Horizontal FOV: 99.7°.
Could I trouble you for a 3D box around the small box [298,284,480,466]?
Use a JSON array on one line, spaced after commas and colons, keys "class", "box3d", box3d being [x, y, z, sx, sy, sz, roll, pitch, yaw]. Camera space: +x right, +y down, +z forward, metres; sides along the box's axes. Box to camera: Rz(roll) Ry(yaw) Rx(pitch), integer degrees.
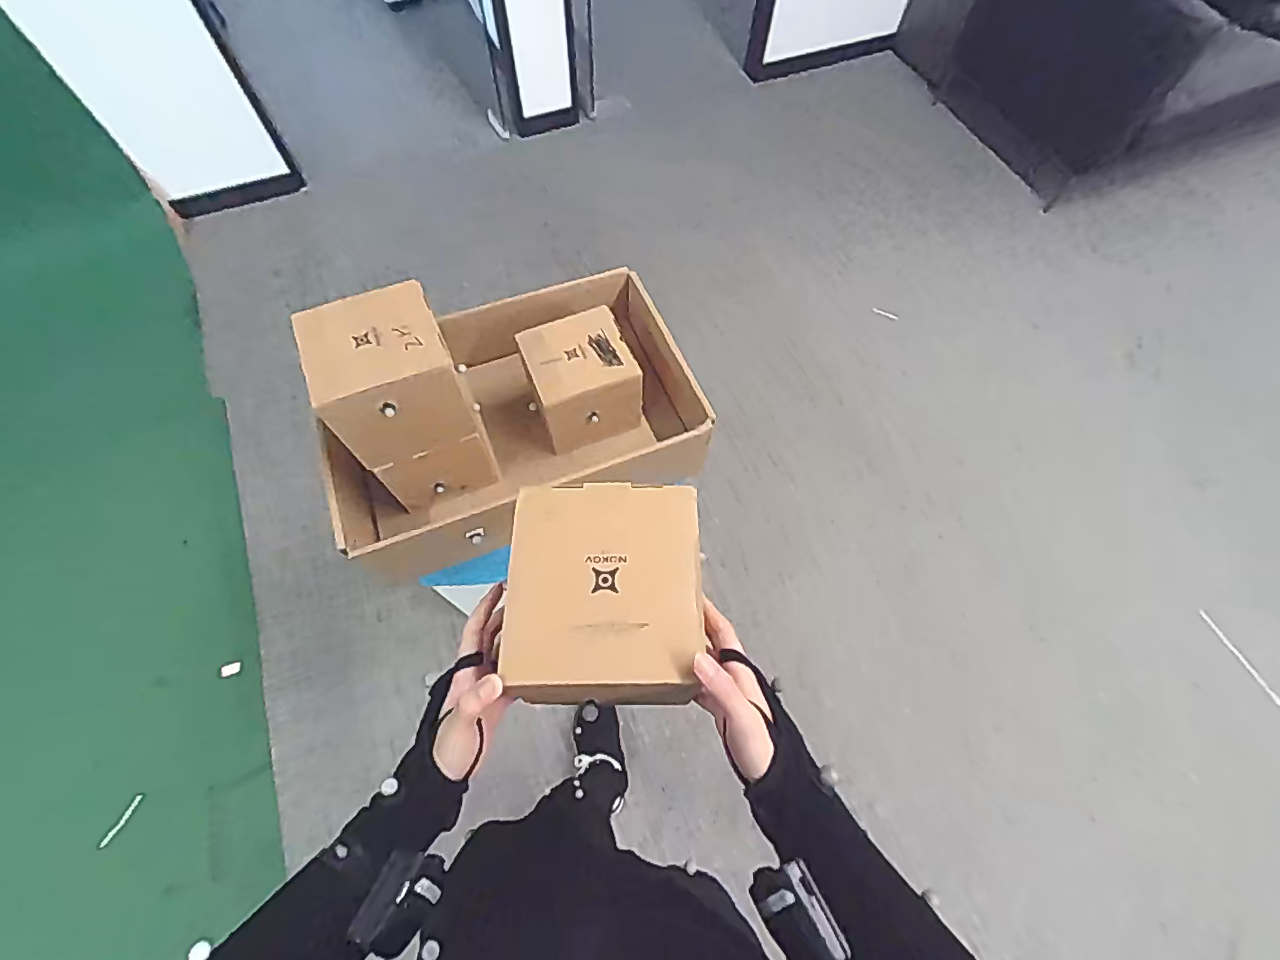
[{"class": "small box", "box3d": [-0.354, -0.145, 0.786, 0.179, 0.176, 0.168, -21, 66, -12]}]
